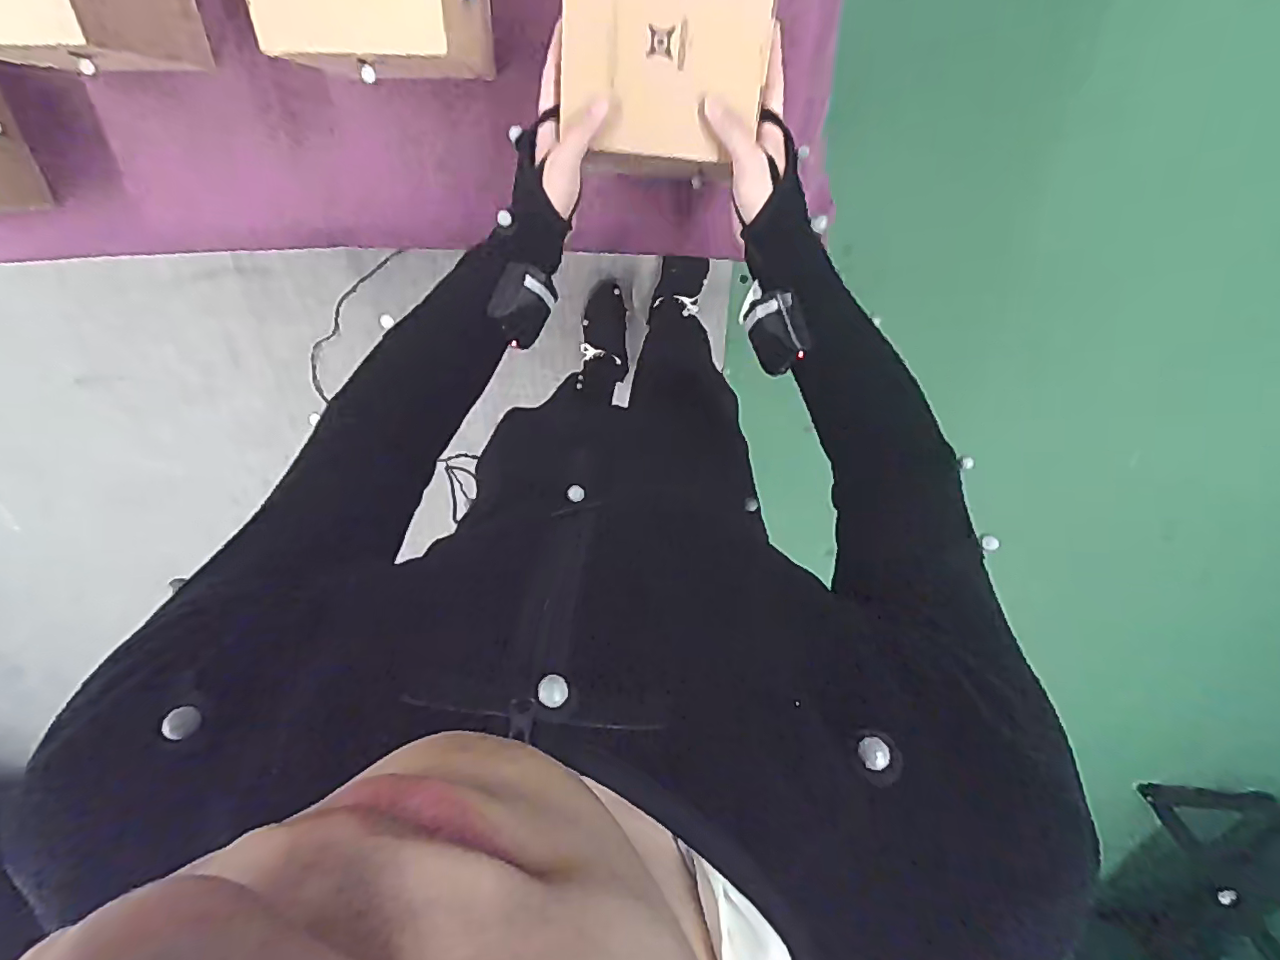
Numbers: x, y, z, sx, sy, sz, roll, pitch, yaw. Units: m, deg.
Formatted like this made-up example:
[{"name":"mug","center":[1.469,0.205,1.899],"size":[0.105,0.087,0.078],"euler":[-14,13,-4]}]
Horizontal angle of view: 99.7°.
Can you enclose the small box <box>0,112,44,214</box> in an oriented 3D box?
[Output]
[{"name":"small box","center":[-0.850,-0.387,0.593],"size":[0.168,0.176,0.179],"euler":[0,120,3]}]

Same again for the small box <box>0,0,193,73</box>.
[{"name":"small box","center":[-0.580,-0.500,0.512],"size":[0.179,0.176,0.168],"euler":[2,121,2]}]

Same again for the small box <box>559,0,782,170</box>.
[{"name":"small box","center":[0.026,-0.399,0.510],"size":[0.179,0.176,0.168],"euler":[6,115,0]}]

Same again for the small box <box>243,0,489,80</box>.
[{"name":"small box","center":[-0.250,-0.487,0.507],"size":[0.179,0.176,0.168],"euler":[3,122,2]}]
